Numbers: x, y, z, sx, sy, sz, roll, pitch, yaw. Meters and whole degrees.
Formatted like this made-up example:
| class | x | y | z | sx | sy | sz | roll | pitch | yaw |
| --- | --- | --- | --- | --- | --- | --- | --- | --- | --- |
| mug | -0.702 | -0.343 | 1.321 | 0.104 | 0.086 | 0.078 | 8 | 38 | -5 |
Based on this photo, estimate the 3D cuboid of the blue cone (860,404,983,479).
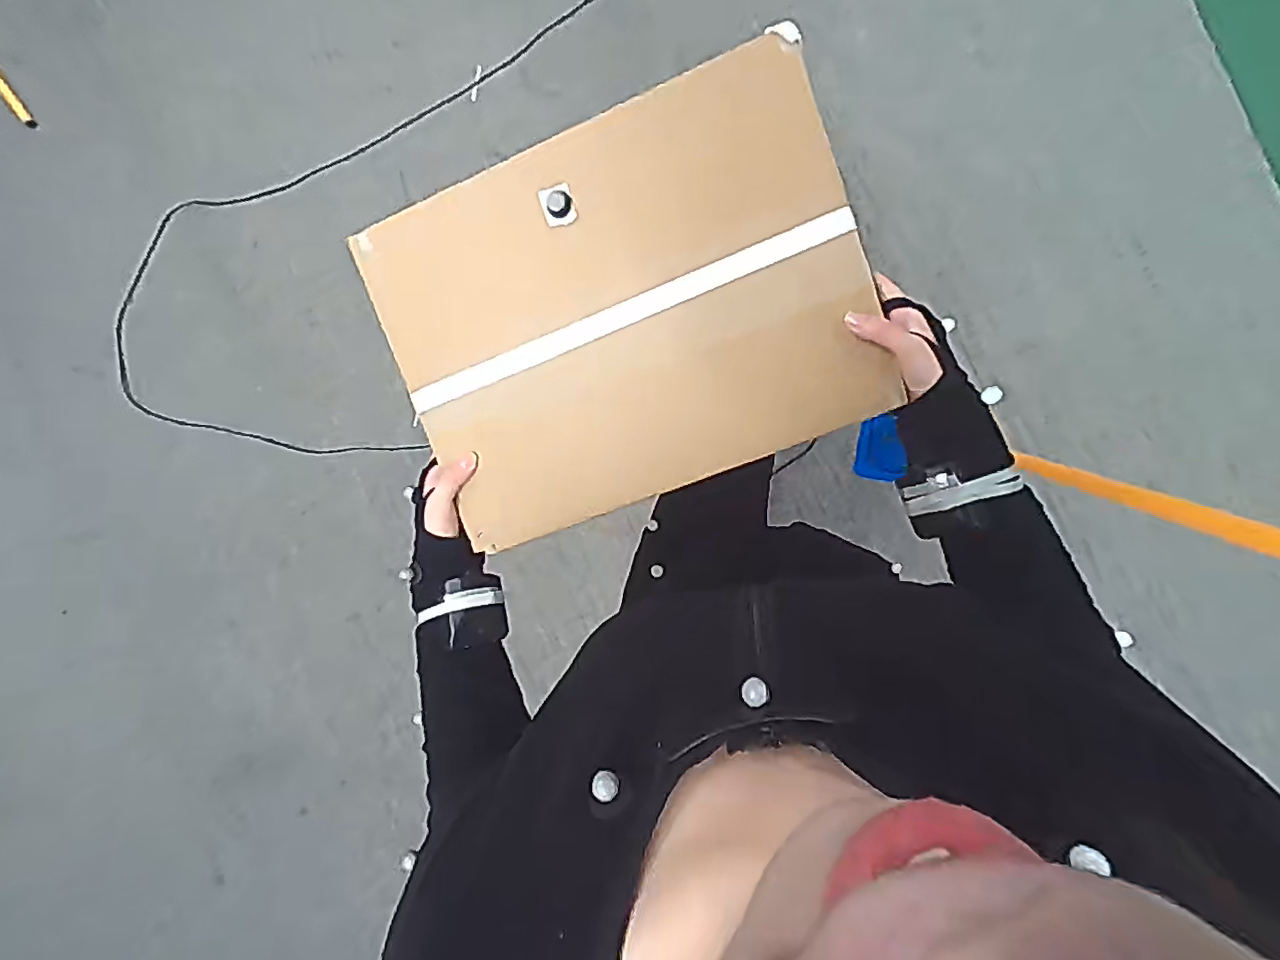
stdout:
| class | x | y | z | sx | sy | sz | roll | pitch | yaw |
| --- | --- | --- | --- | --- | --- | --- | --- | --- | --- |
| blue cone | 0.669 | -0.090 | 1.249 | 0.193 | 0.380 | 0.192 | 7 | 94 | 3 |
